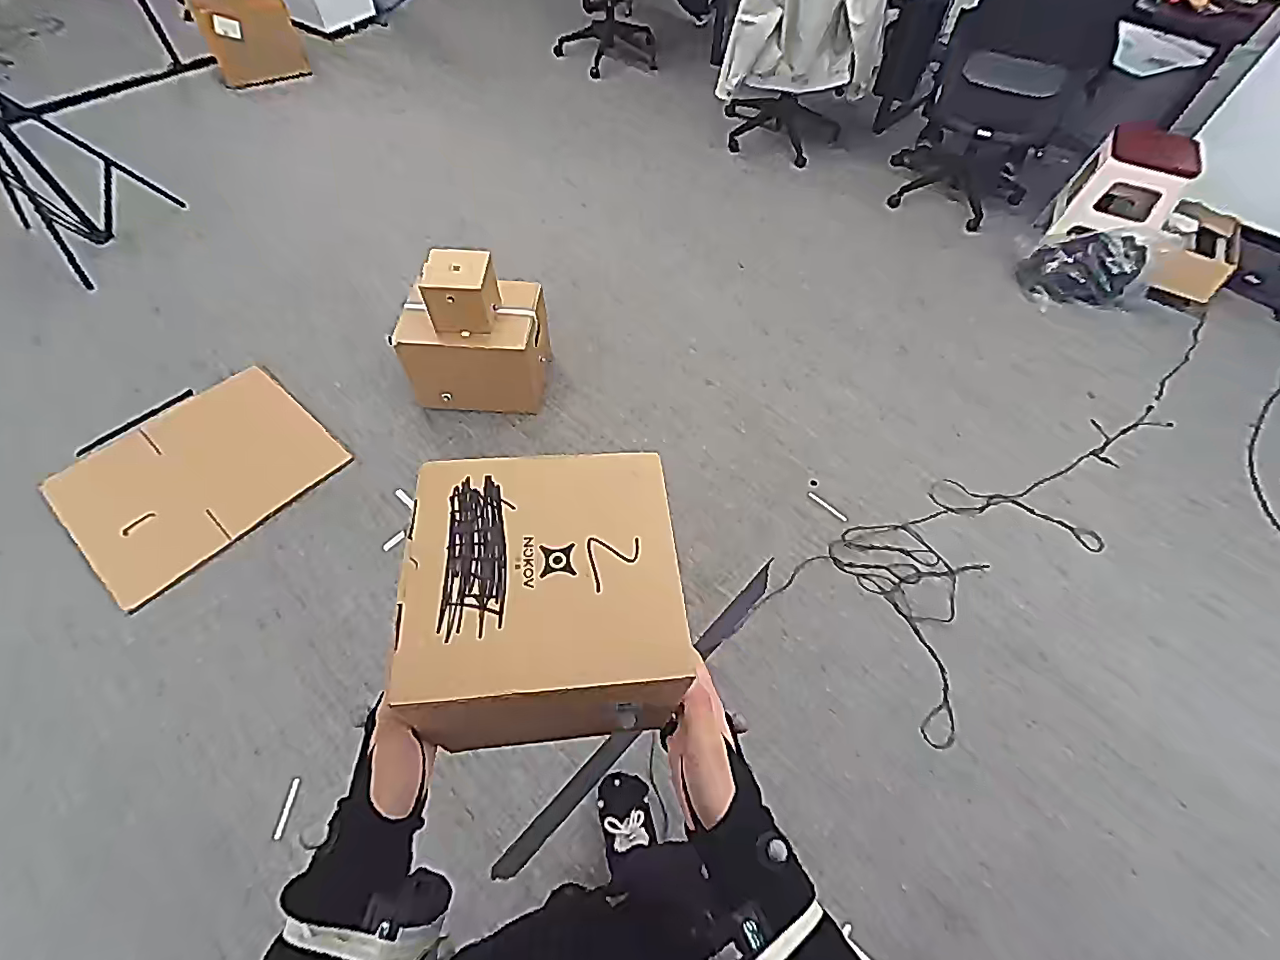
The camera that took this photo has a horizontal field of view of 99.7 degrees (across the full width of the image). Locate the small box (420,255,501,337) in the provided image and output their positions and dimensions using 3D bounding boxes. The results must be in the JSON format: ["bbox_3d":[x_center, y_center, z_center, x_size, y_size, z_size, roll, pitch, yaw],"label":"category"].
[{"bbox_3d":[-0.526,-0.542,1.606,0.179,0.176,0.168,2,59,-2],"label":"small box"}]
